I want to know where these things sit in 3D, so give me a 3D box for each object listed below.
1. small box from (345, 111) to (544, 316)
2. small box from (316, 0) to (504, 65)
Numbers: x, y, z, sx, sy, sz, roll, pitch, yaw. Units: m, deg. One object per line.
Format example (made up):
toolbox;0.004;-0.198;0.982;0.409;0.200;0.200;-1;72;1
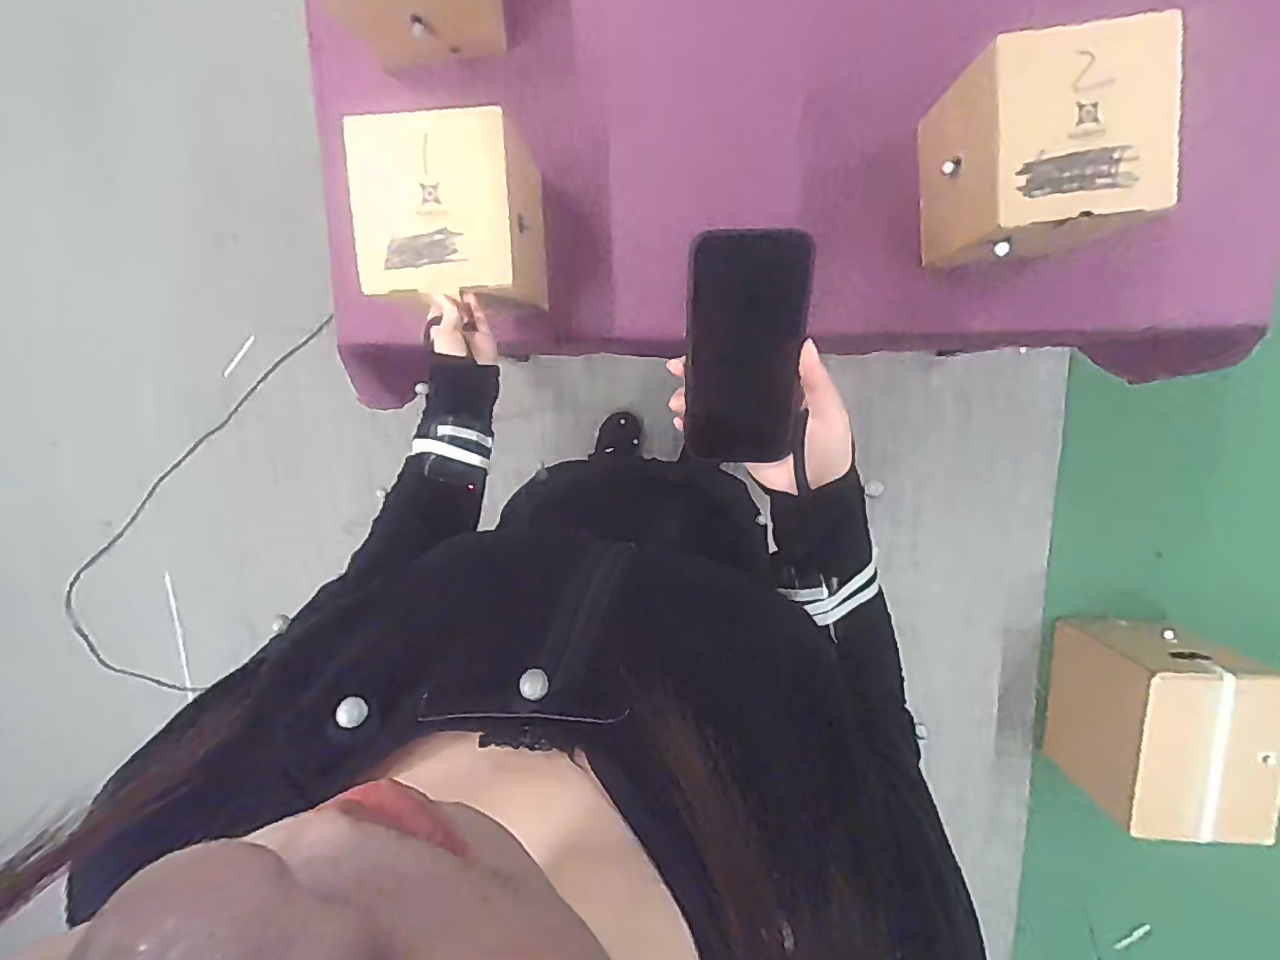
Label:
small box;-0.213;-0.293;0.636;0.168;0.176;0.179;-2;97;3
small box;-0.258;-0.594;0.593;0.168;0.176;0.179;-4;99;3
